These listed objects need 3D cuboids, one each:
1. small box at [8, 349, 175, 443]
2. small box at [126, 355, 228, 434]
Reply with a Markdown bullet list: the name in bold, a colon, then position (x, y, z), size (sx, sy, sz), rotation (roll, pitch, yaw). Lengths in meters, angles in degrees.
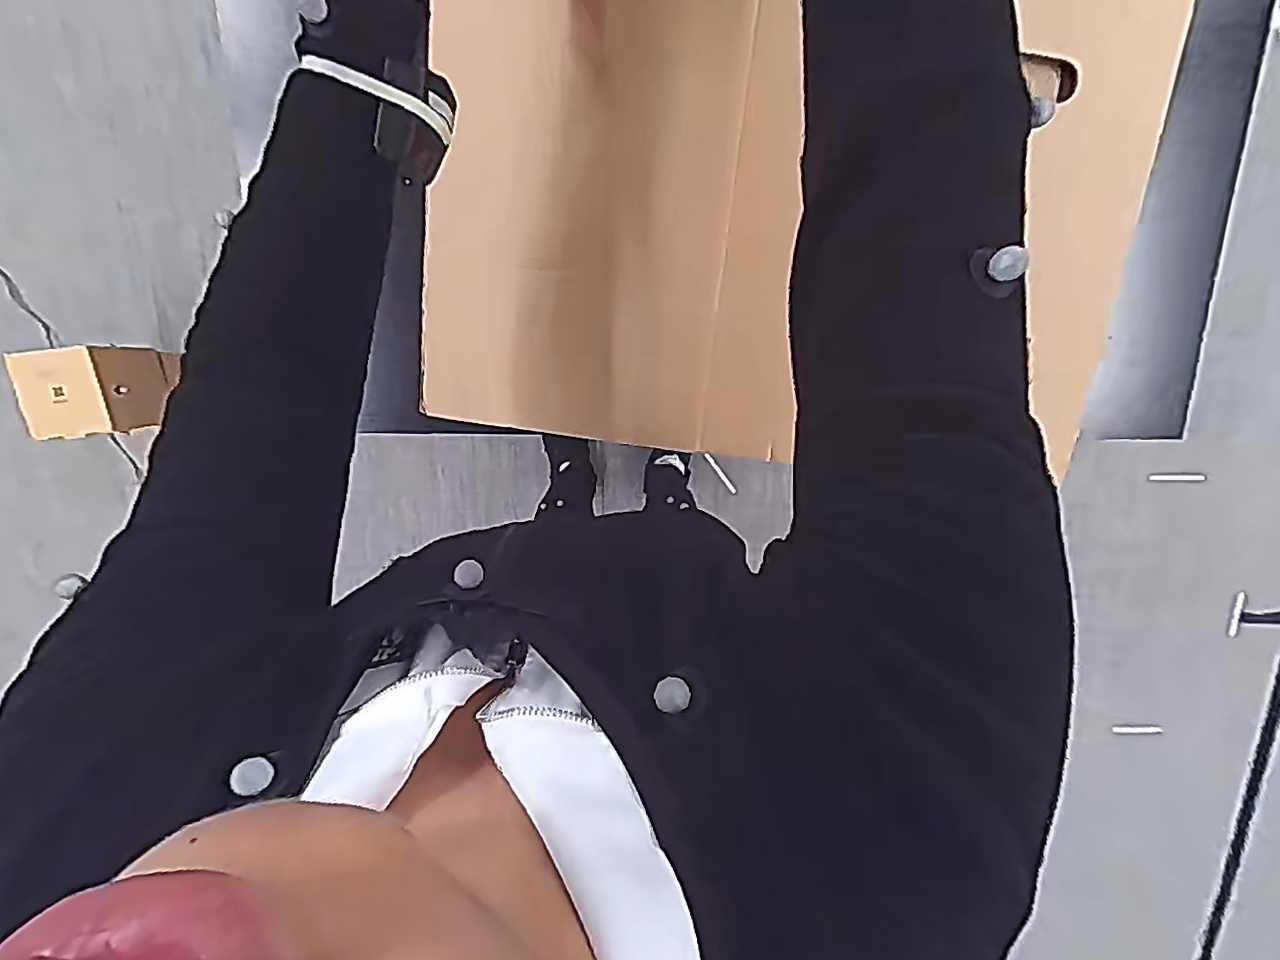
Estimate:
- **small box**: position (-1.159, -0.183, 1.161), size (0.168, 0.176, 0.179), rotation (-7, 100, -1)
- **small box**: position (-1.161, -0.210, 1.321), size (0.168, 0.176, 0.179), rotation (-3, 102, 0)
